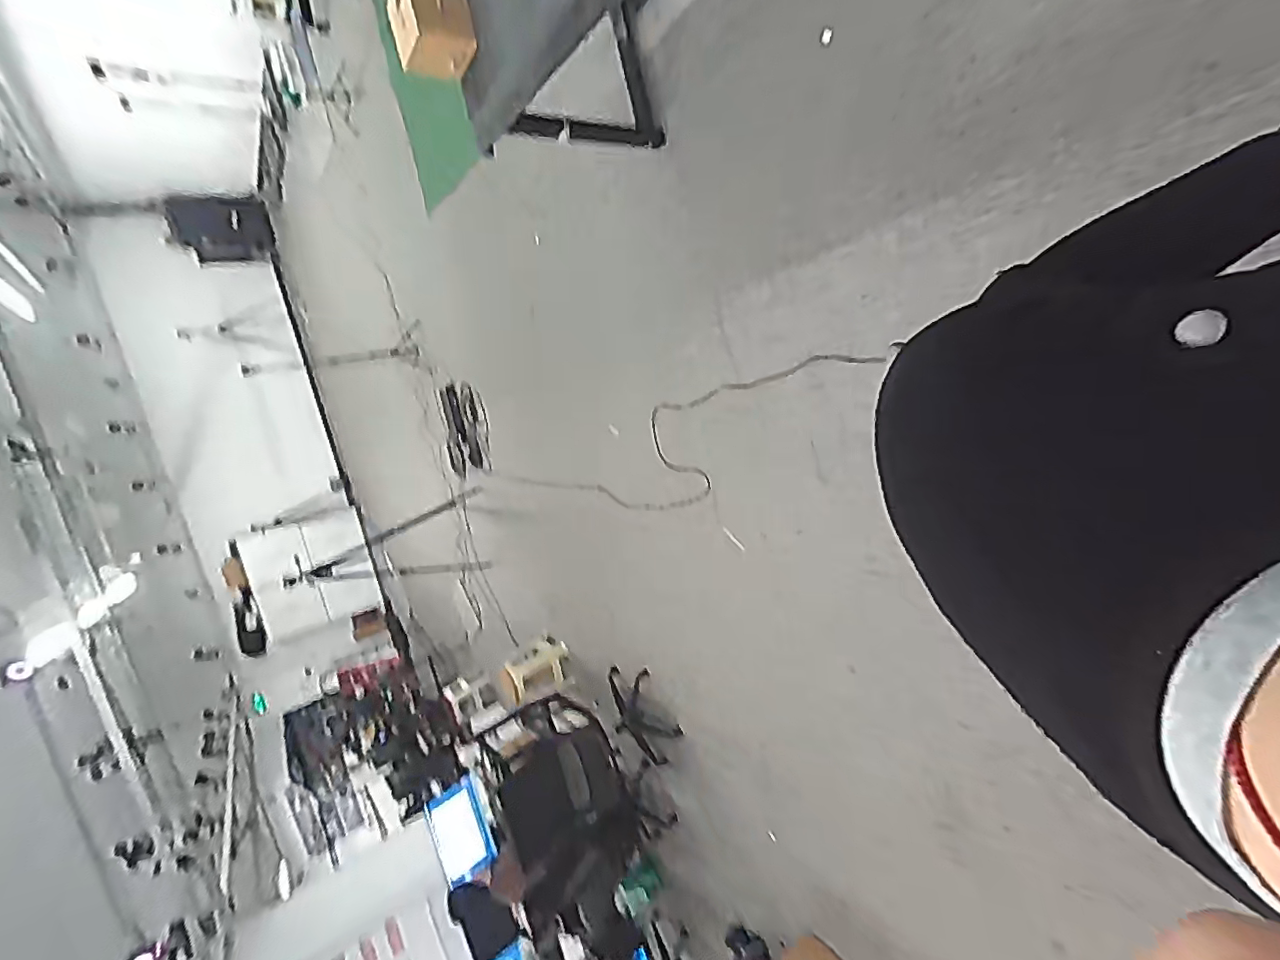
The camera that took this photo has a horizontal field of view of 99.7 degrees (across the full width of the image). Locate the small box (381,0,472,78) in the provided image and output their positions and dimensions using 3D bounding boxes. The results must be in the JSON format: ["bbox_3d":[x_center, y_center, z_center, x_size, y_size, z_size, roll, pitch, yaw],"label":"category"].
[{"bbox_3d":[-0.590,-1.265,1.500,0.168,0.176,0.179,-5,101,53],"label":"small box"}]
